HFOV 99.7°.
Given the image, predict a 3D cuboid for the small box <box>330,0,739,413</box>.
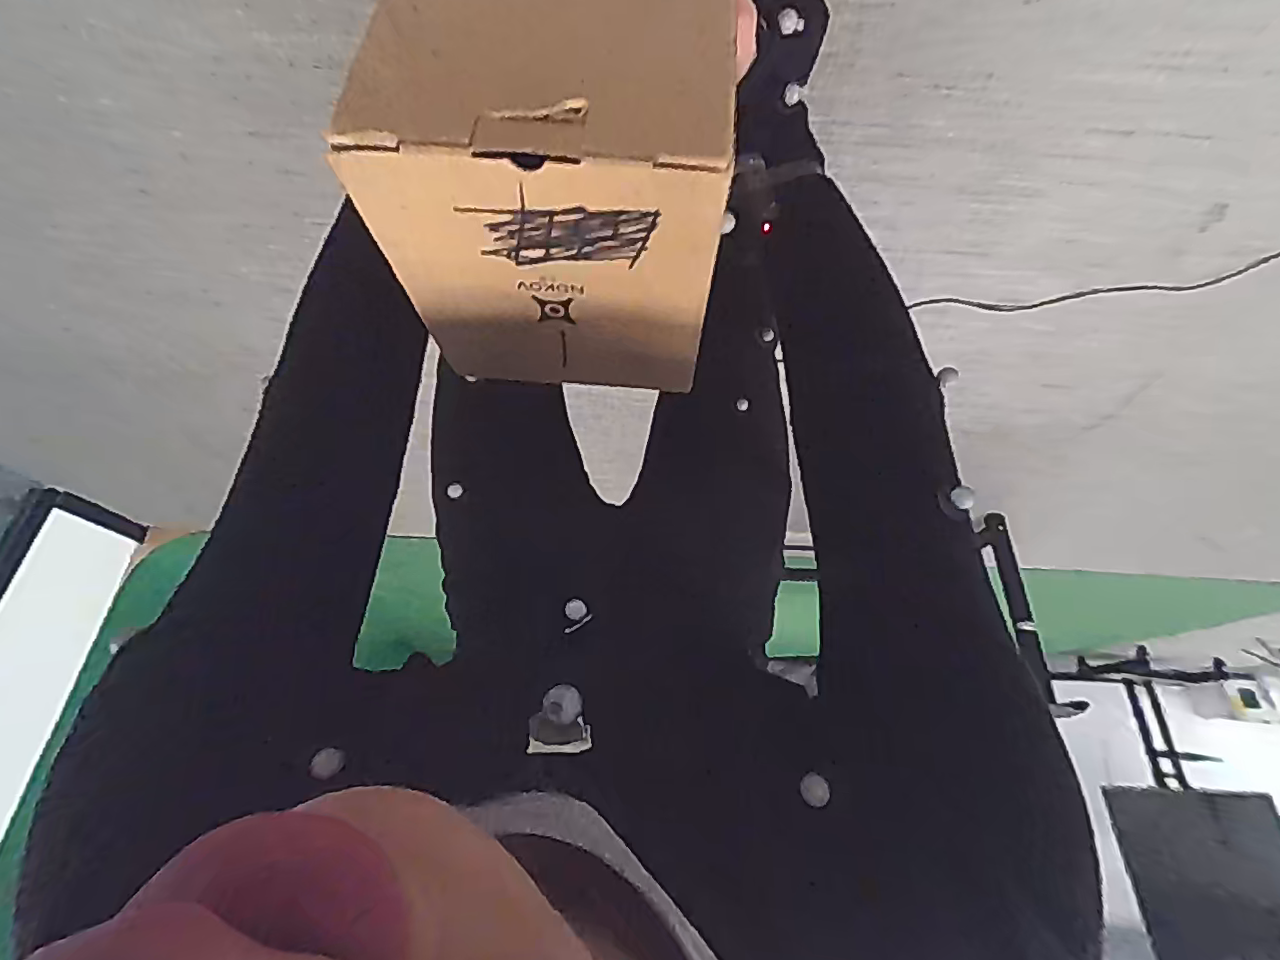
[{"bbox_3d":[-0.039,-0.156,0.316,0.168,0.176,0.179,5,162,1],"label":"small box"}]
